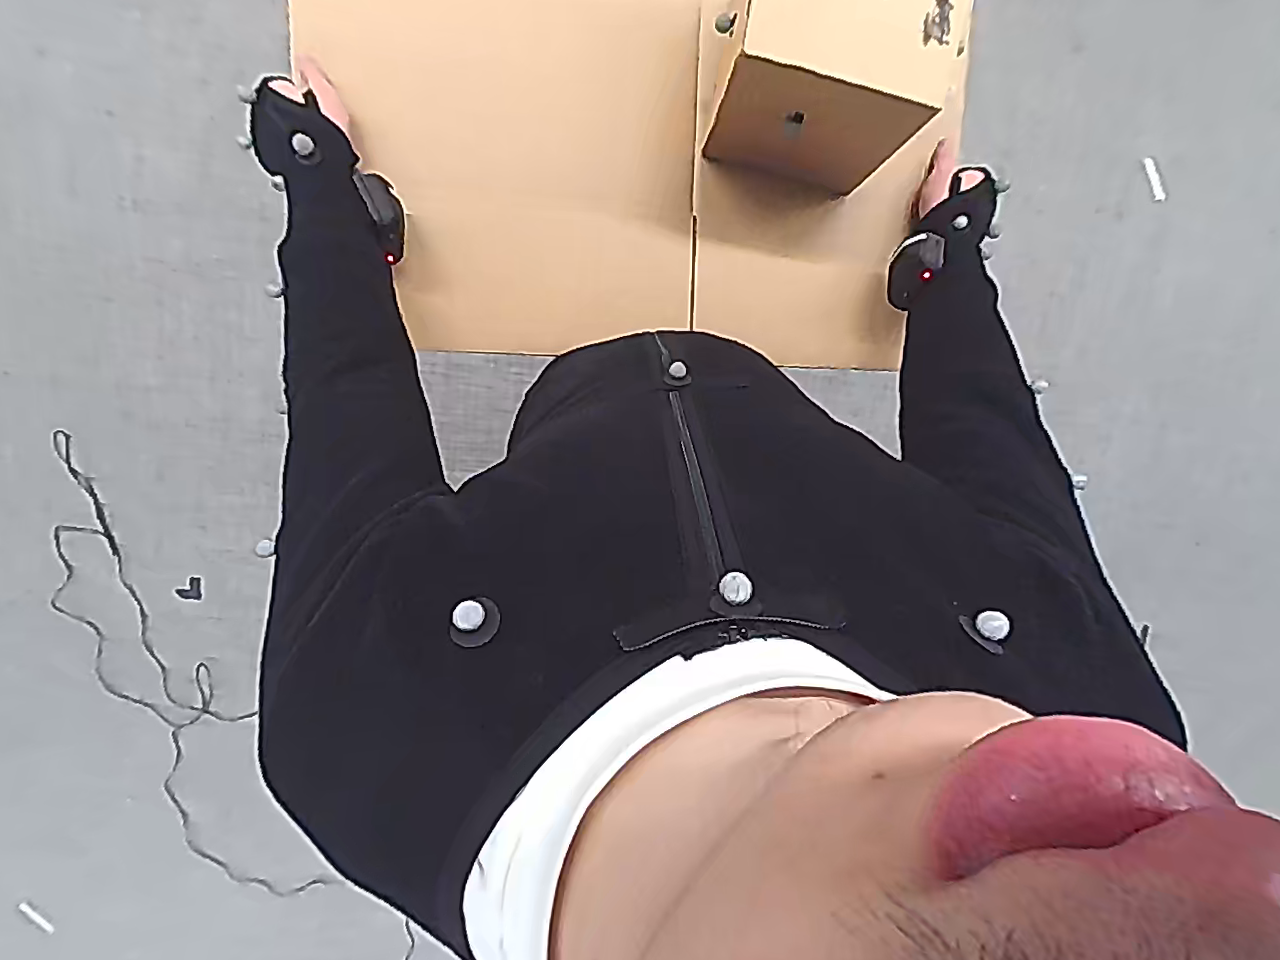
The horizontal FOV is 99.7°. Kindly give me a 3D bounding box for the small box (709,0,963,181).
[{"bbox_3d":[0.173,-0.414,0.511,0.179,0.176,0.168,11,96,-4],"label":"small box"}]
